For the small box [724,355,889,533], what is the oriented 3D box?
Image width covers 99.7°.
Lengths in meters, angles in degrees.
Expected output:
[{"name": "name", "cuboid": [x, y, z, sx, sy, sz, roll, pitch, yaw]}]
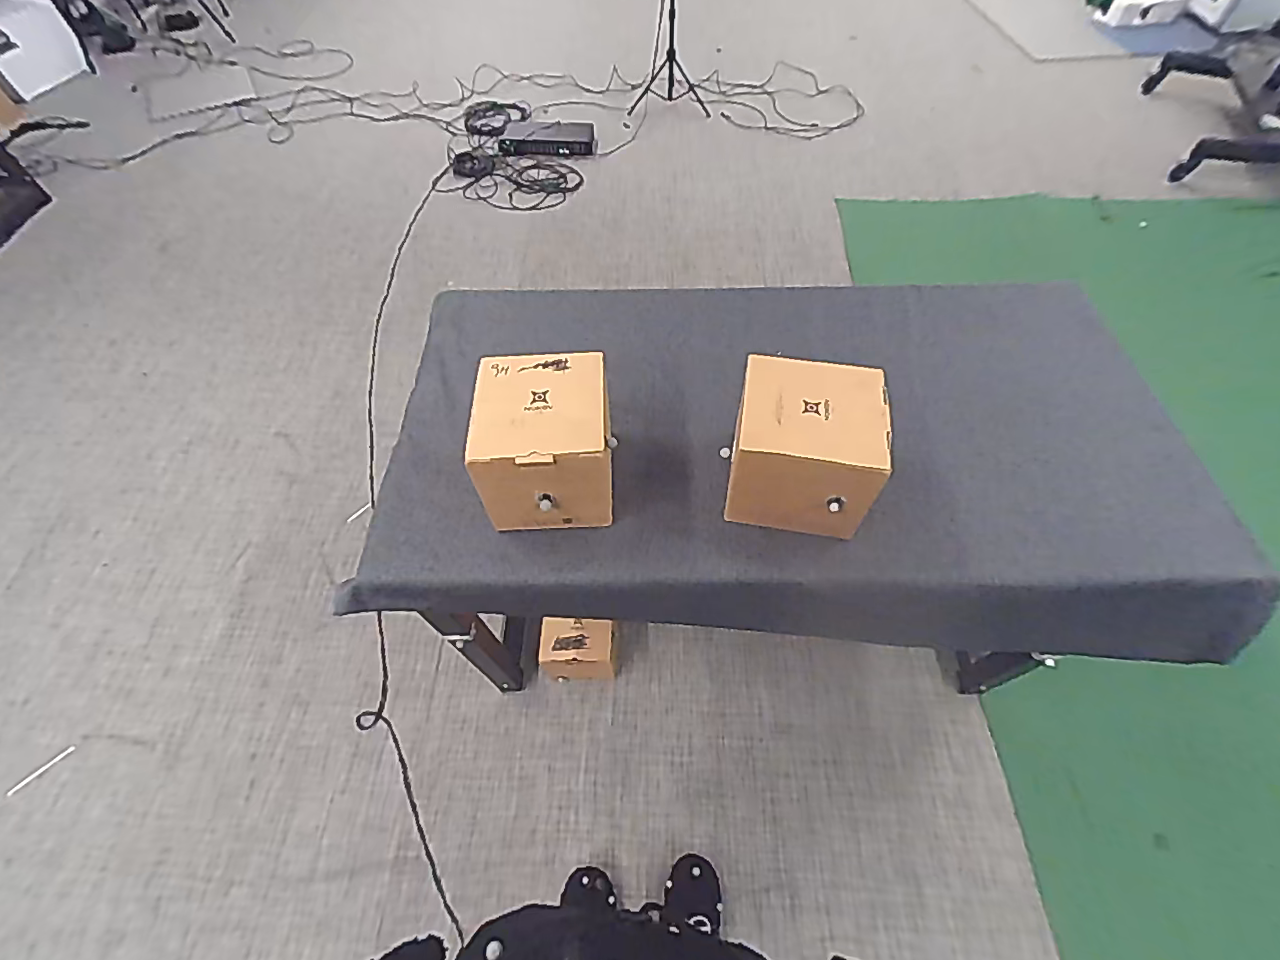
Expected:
[{"name": "small box", "cuboid": [0.218, -0.043, 0.736, 0.179, 0.176, 0.168, 8, 57, 8]}]

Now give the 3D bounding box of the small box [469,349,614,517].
[{"name": "small box", "cuboid": [-0.123, -0.057, 0.747, 0.168, 0.176, 0.179, -2, 57, -1]}]
